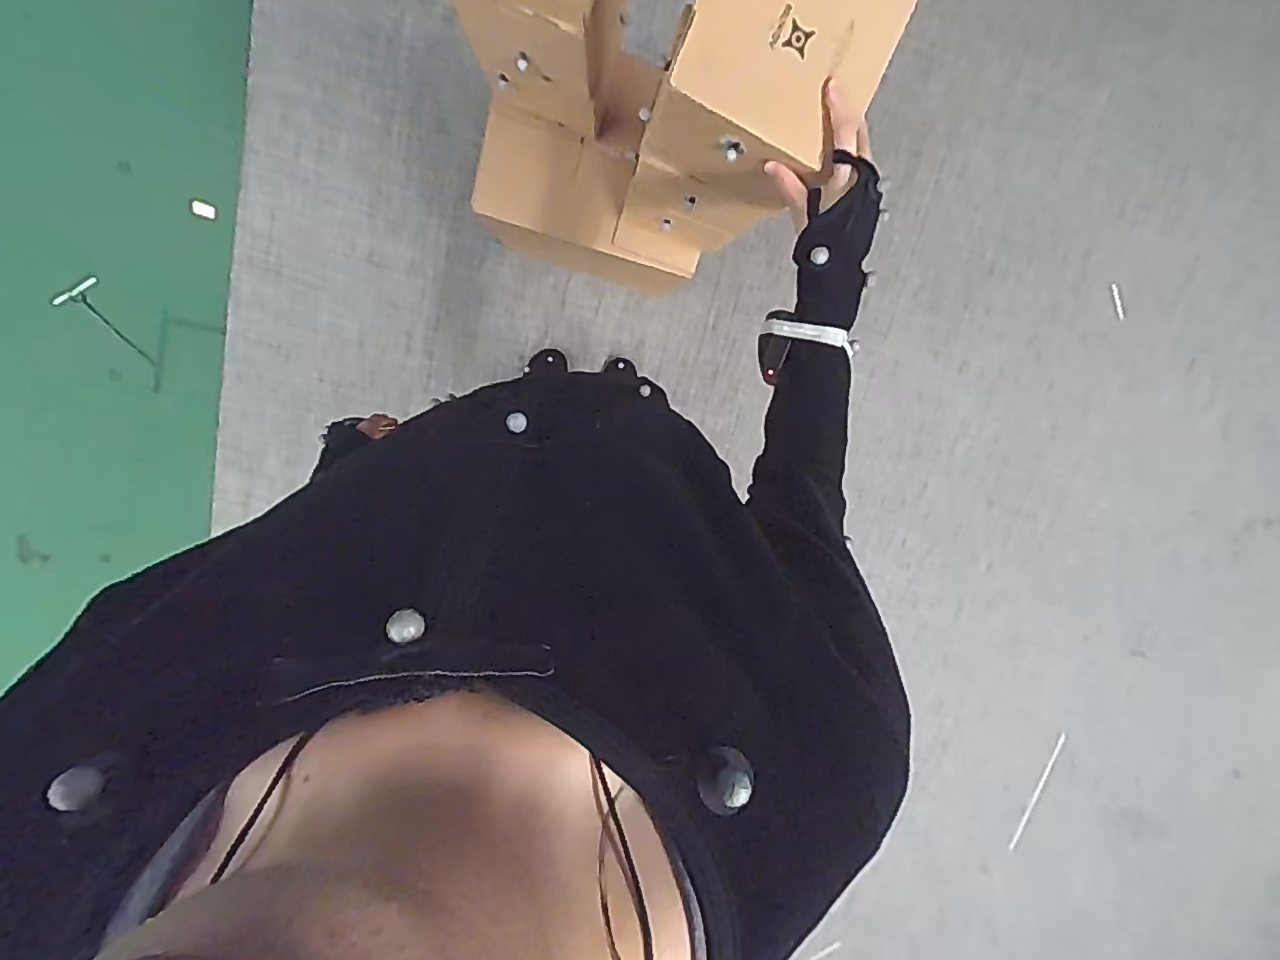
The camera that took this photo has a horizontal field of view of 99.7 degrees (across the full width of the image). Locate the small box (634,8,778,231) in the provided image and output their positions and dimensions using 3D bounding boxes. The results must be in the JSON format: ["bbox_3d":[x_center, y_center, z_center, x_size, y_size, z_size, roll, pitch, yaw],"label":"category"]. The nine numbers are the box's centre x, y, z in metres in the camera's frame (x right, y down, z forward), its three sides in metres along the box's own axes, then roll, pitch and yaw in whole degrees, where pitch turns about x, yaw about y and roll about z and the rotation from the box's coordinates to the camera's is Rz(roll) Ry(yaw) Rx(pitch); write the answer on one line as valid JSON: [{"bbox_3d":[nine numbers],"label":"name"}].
[{"bbox_3d":[0.101,-0.441,0.701,0.179,0.176,0.168,17,103,-9],"label":"small box"}]

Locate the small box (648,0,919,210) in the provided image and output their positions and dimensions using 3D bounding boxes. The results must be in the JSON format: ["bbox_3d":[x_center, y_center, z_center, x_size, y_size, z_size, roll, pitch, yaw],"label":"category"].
[{"bbox_3d":[0.122,-0.398,0.542,0.179,0.176,0.168,22,101,-13],"label":"small box"}]

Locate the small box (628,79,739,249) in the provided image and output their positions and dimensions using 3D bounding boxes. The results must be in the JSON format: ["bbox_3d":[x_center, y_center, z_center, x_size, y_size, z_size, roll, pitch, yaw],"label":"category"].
[{"bbox_3d":[0.084,-0.482,0.859,0.179,0.176,0.168,16,104,-8],"label":"small box"}]
